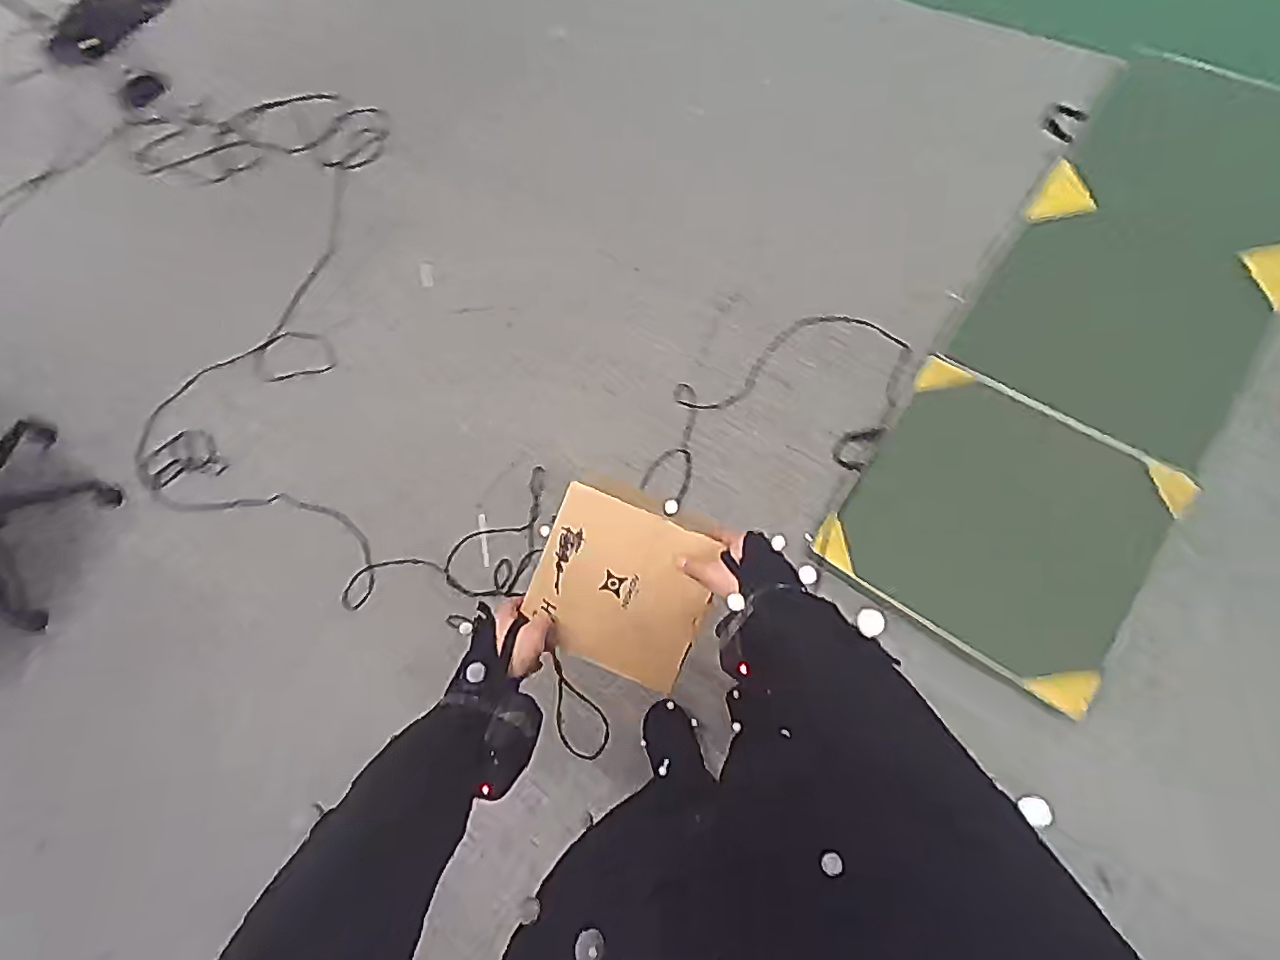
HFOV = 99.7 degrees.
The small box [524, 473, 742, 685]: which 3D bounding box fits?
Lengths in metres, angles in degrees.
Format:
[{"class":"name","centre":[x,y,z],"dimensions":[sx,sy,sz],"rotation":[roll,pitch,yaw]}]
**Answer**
[{"class":"small box","centre":[-0.004,0.096,0.624],"dimensions":[0.179,0.176,0.168],"rotation":[24,94,3]}]
